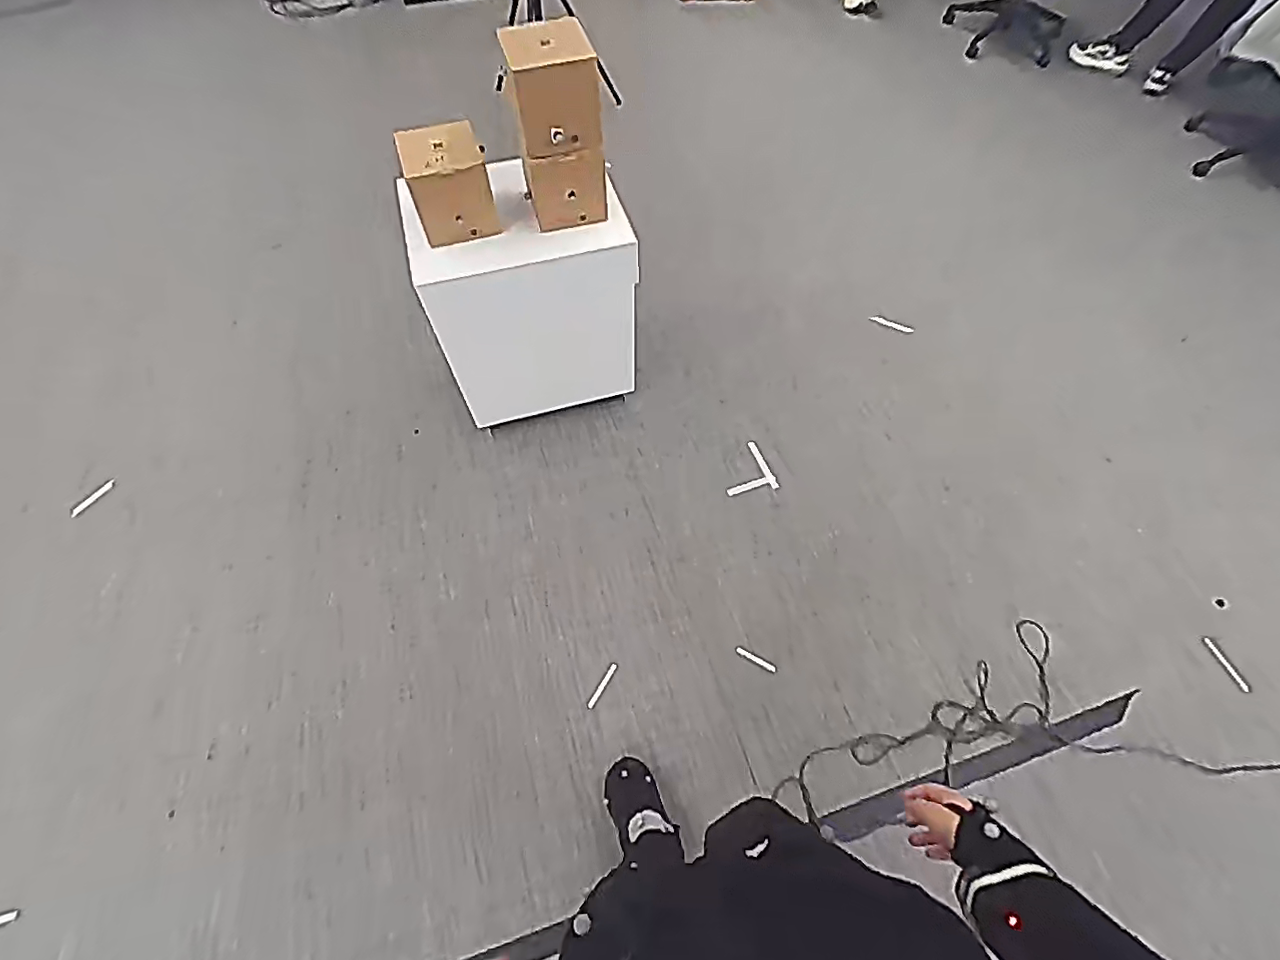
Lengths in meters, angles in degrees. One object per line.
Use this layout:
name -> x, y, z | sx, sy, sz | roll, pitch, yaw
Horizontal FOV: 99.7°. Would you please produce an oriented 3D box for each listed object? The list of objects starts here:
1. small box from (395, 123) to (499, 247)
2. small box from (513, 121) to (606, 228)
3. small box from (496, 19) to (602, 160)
small box -> -0.428, -0.660, 1.214 | 0.168, 0.176, 0.179 | -17, 63, -10
small box -> -0.179, -0.708, 1.245 | 0.168, 0.176, 0.179 | -15, 64, -7
small box -> -0.181, -0.795, 1.106 | 0.168, 0.176, 0.179 | -16, 63, -7
